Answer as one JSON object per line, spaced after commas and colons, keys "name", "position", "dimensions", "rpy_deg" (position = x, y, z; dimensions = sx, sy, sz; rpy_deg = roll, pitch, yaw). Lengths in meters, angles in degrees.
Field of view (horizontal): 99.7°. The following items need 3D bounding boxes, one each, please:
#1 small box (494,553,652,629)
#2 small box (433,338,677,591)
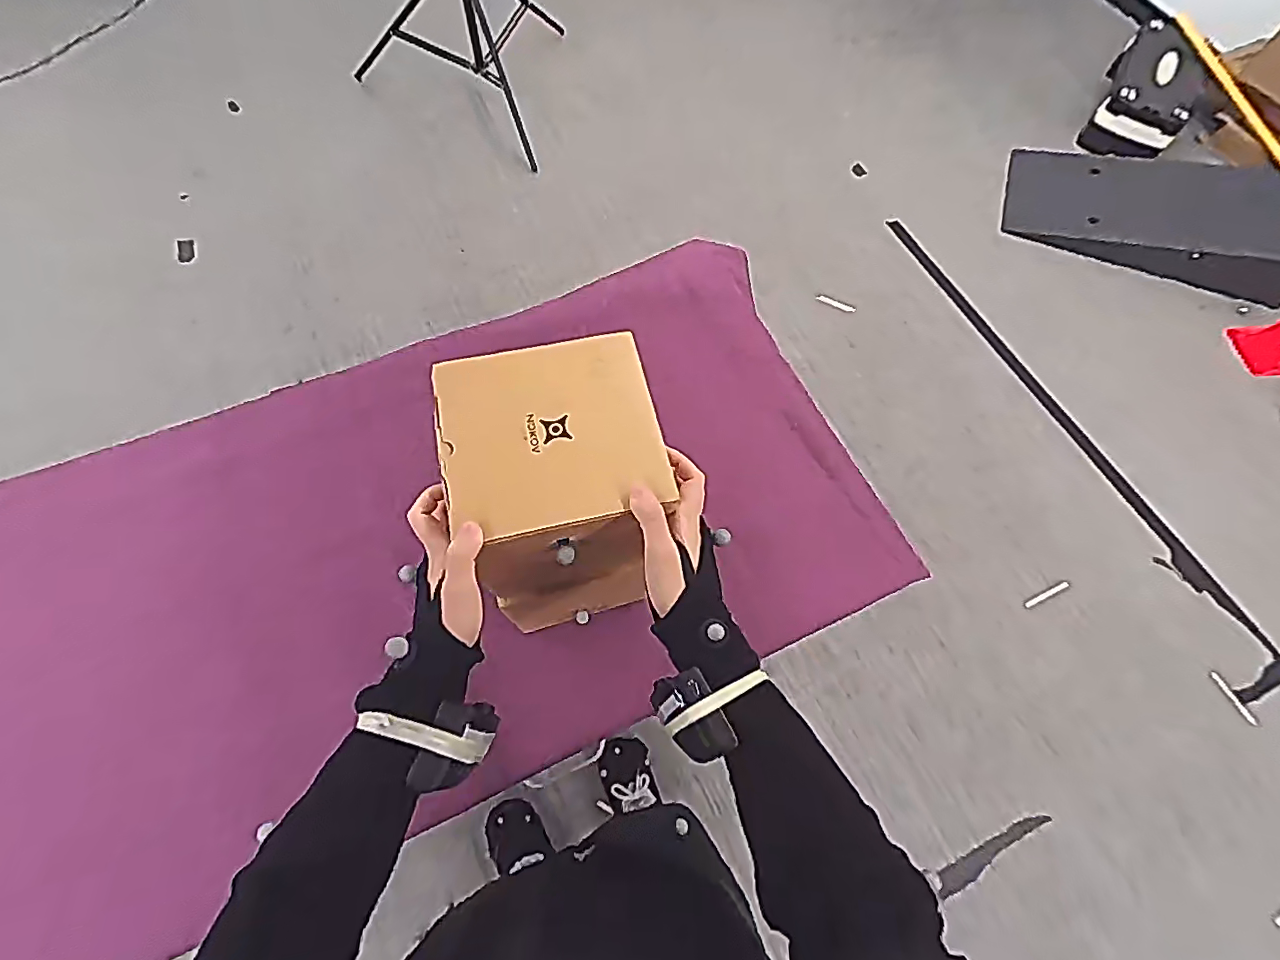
{"name": "small box", "position": [-0.092, 0.065, 0.656], "dimensions": [0.168, 0.176, 0.179], "rpy_deg": [-14, 68, -8]}
{"name": "small box", "position": [-0.076, -0.006, 0.511], "dimensions": [0.179, 0.176, 0.168], "rpy_deg": [-12, 68, -7]}
